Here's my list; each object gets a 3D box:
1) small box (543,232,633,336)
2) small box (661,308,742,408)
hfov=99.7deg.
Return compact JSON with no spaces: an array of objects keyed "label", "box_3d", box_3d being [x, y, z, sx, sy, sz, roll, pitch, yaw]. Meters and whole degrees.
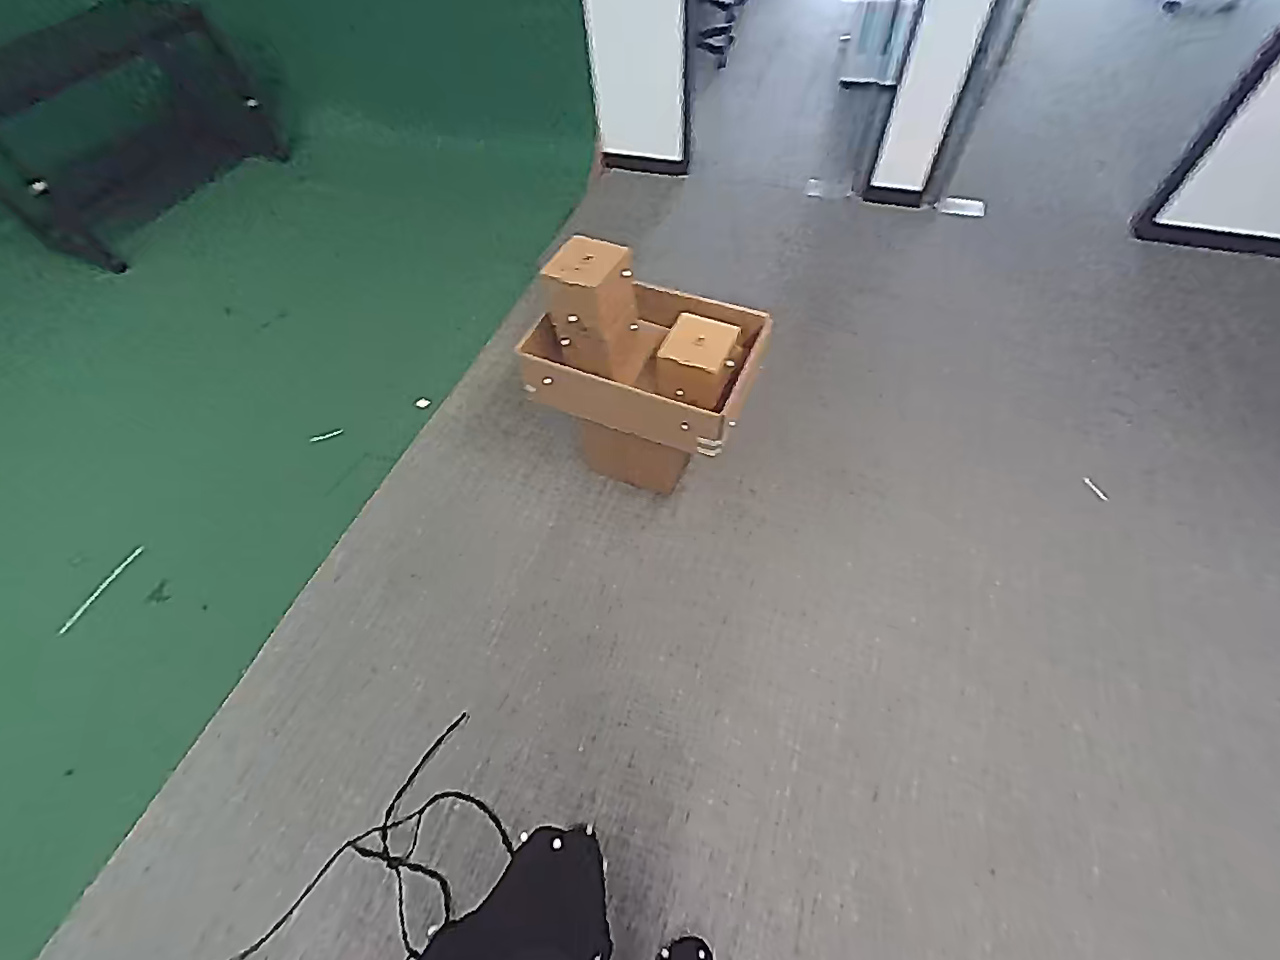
[{"label":"small box","box_3d":[-0.128,-0.514,1.421,0.168,0.176,0.179,22,62,18]},{"label":"small box","box_3d":[0.165,-0.331,1.476,0.168,0.176,0.179,20,63,16]}]
